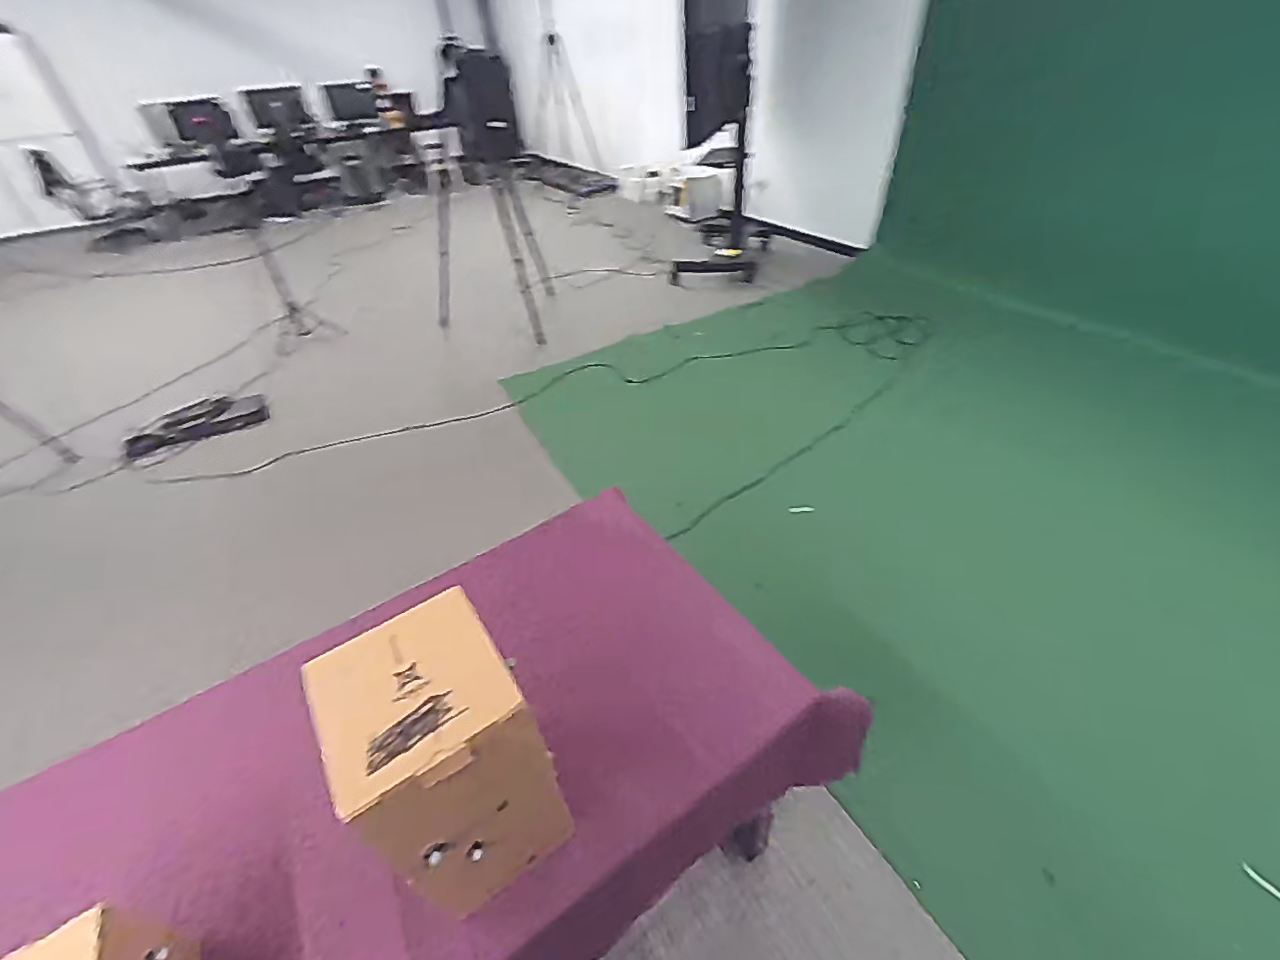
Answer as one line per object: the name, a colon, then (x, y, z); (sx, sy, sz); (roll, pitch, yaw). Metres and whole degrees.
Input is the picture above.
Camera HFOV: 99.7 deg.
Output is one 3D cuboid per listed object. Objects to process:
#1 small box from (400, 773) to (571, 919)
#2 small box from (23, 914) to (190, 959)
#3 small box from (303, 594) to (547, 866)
small box: (-0.205, 0.389, 0.672); (0.168, 0.176, 0.179); (-28, 44, -23)
small box: (-0.546, 0.565, 0.500); (0.168, 0.176, 0.179); (-26, 45, -23)
small box: (-0.216, 0.263, 0.568); (0.168, 0.176, 0.179); (-27, 44, -24)
